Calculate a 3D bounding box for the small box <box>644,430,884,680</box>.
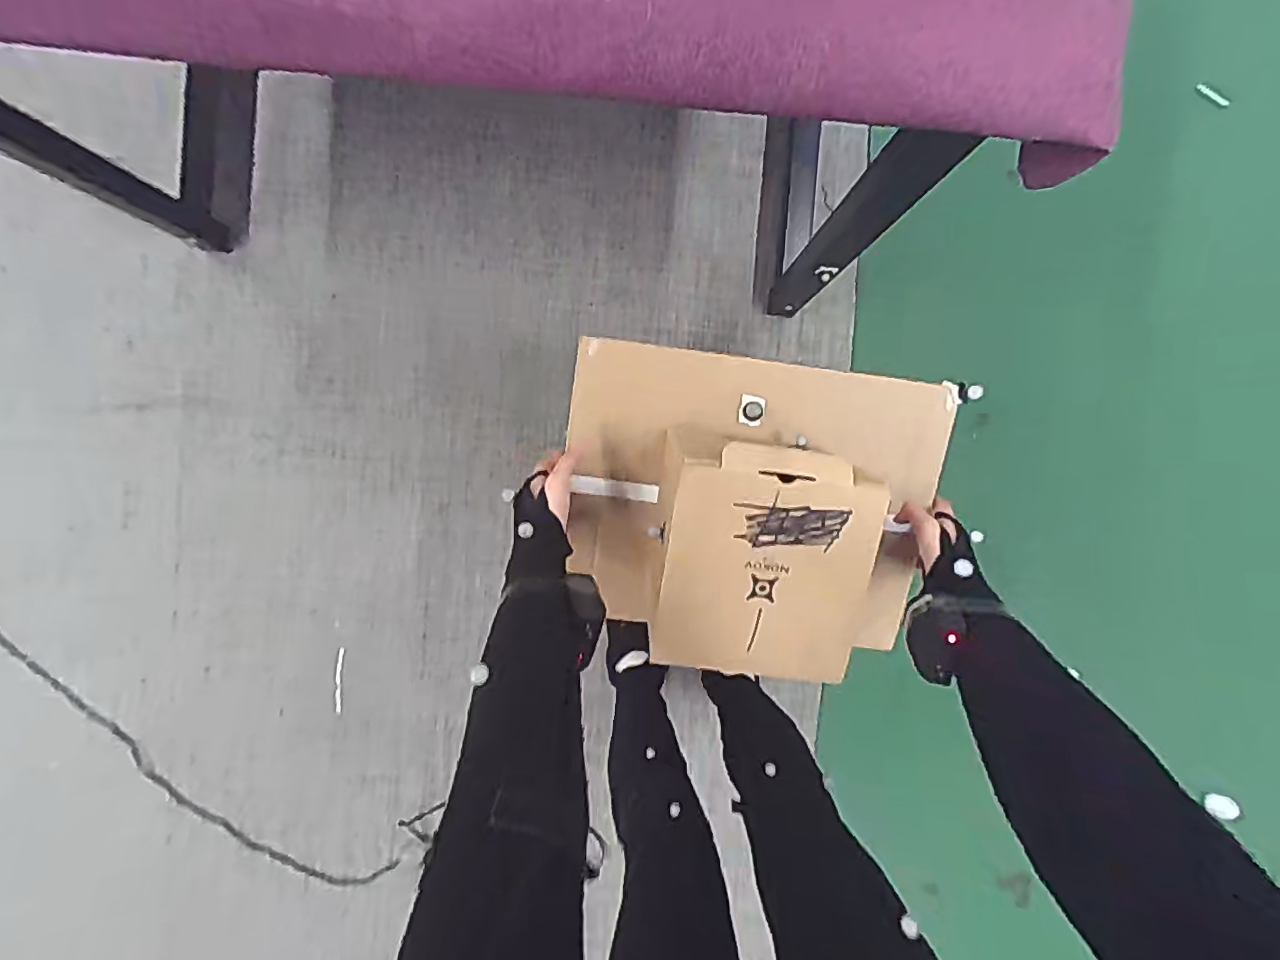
[{"bbox_3d":[0.095,0.055,0.507,0.168,0.176,0.179,8,104,-2],"label":"small box"}]
